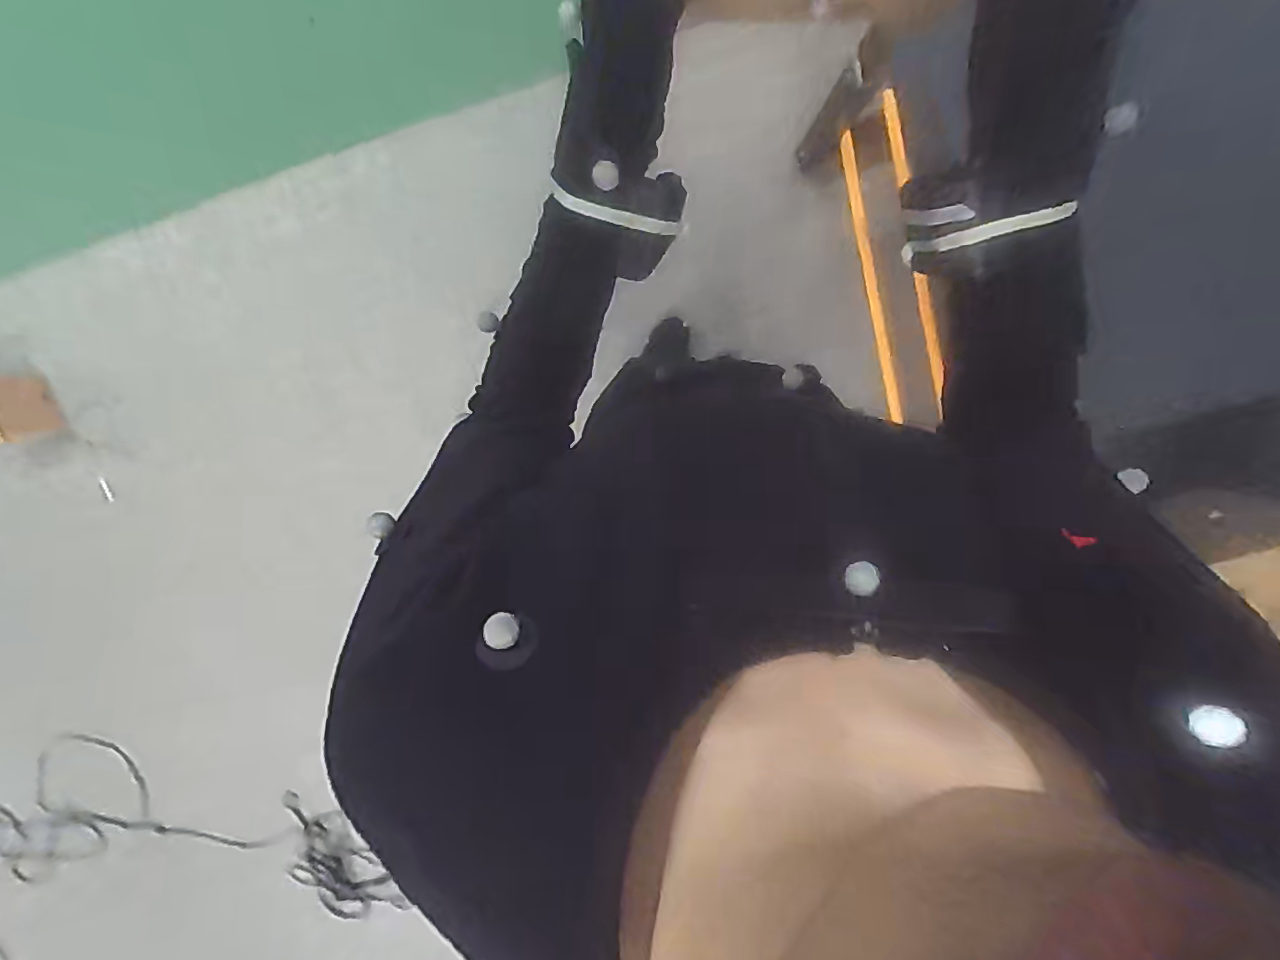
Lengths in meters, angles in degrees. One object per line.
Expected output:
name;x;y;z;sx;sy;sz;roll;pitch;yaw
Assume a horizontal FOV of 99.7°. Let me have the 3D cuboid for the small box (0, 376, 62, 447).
small box;-1.744;-0.184;1.468;0.179;0.176;0.168;-14;101;6
